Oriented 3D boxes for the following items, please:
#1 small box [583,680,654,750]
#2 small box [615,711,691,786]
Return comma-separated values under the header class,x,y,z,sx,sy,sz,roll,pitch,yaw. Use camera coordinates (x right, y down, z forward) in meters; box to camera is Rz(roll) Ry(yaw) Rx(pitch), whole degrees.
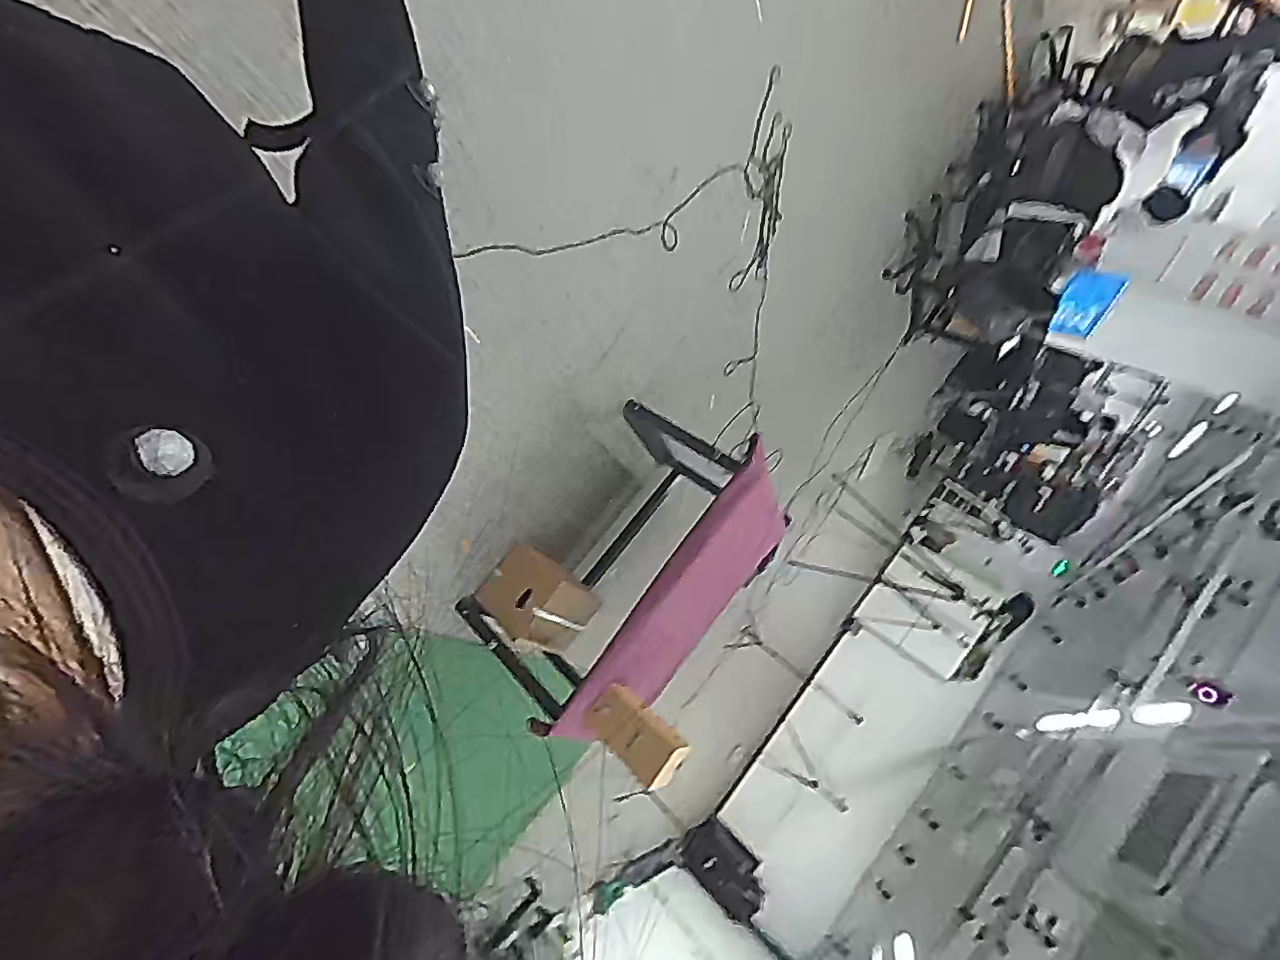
class,x,y,z,sx,sy,sz,roll,pitch,yaw
small box,-0.073,0.852,1.963,0.168,0.176,0.179,-52,148,-8
small box,0.046,0.926,1.881,0.168,0.176,0.179,-54,149,-6
